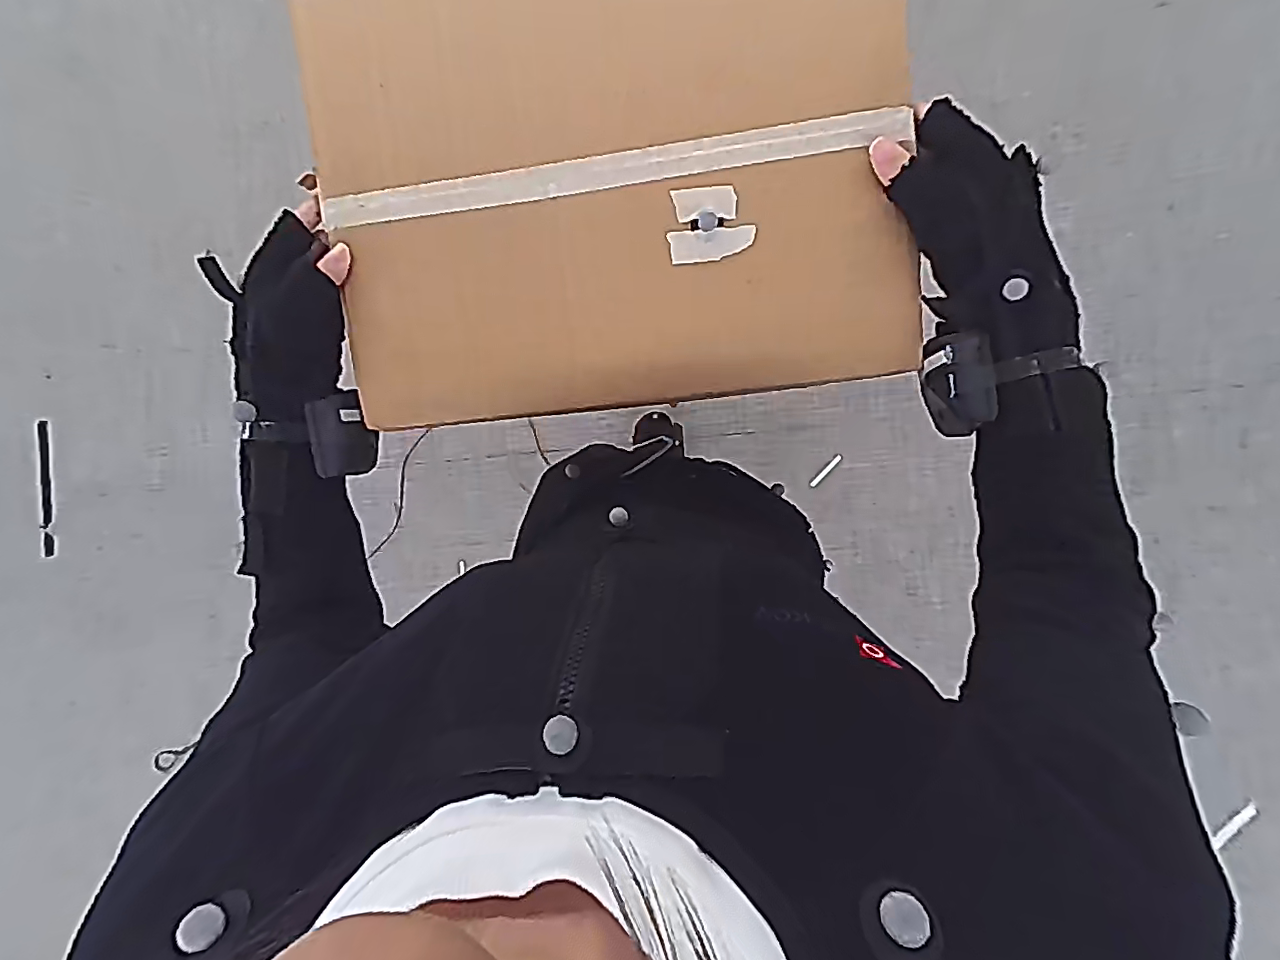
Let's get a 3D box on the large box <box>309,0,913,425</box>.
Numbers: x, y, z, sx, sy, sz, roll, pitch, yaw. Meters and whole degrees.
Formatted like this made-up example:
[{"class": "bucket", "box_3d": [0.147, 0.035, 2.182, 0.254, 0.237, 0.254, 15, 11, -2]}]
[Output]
[{"class": "large box", "box_3d": [-0.011, -0.237, 0.529, 0.408, 0.320, 0.320, -6, 99, 5]}]
